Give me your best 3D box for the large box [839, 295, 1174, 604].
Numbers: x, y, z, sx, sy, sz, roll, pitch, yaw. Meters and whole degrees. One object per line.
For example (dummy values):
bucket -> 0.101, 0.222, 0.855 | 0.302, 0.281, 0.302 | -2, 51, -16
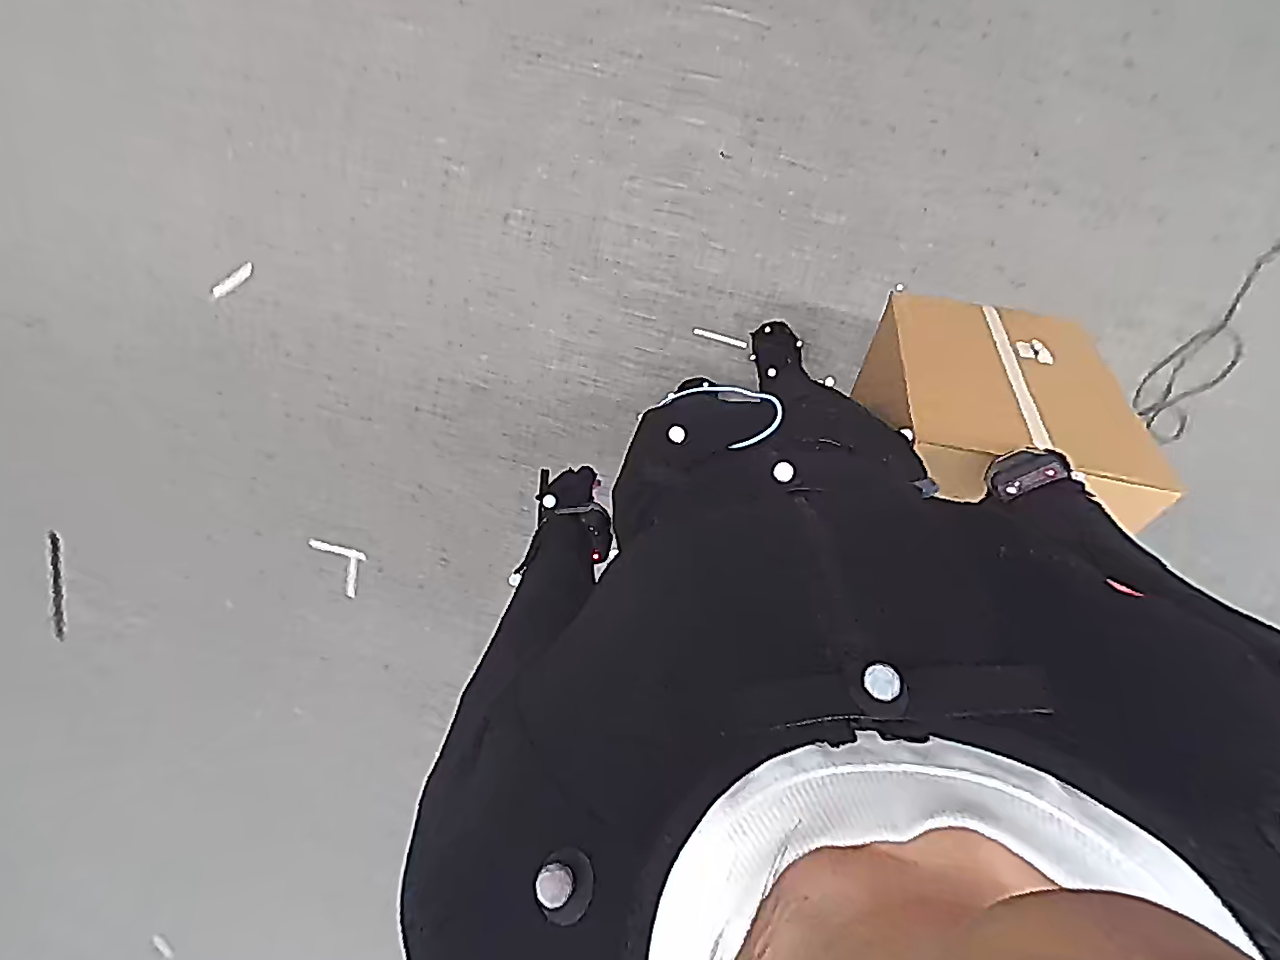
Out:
large box -> 0.542, -0.059, 0.917 | 0.320, 0.408, 0.320 | 12, 137, 6
